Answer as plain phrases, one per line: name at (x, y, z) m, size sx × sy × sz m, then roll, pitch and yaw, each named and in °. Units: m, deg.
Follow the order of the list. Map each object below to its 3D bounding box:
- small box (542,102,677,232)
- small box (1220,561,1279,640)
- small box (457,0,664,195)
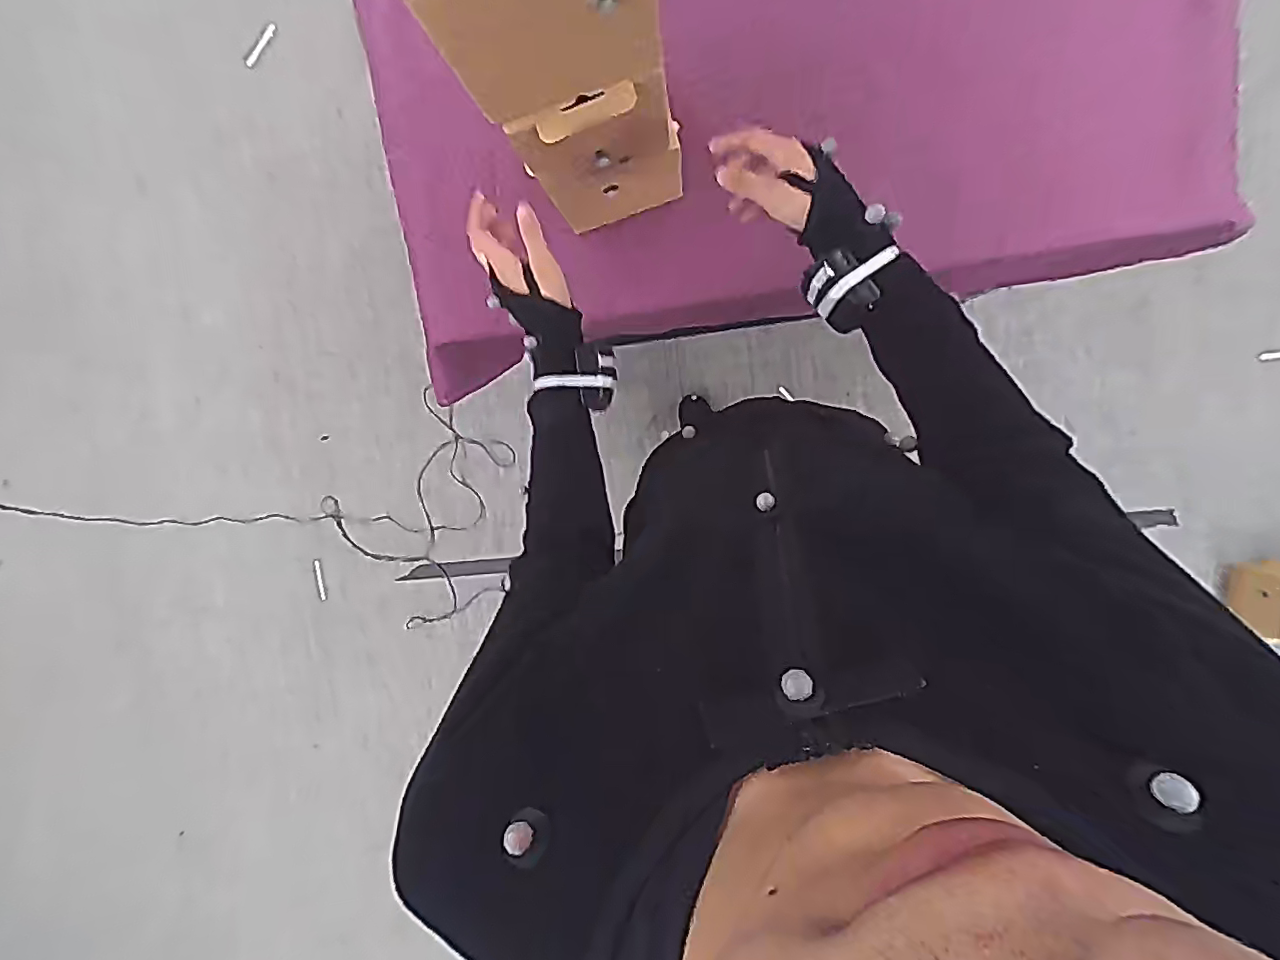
small box at (-0.053, -0.472, 0.751) m, size 0.179 × 0.176 × 0.168 m, roll -17°, pitch 97°, yaw 7°
small box at (1.719, 0.317, 1.440) m, size 0.179 × 0.176 × 0.168 m, roll -2°, pitch 99°, yaw 6°
small box at (-0.078, -0.452, 0.589) m, size 0.168 × 0.176 × 0.179 m, roll -18°, pitch 96°, yaw 8°
